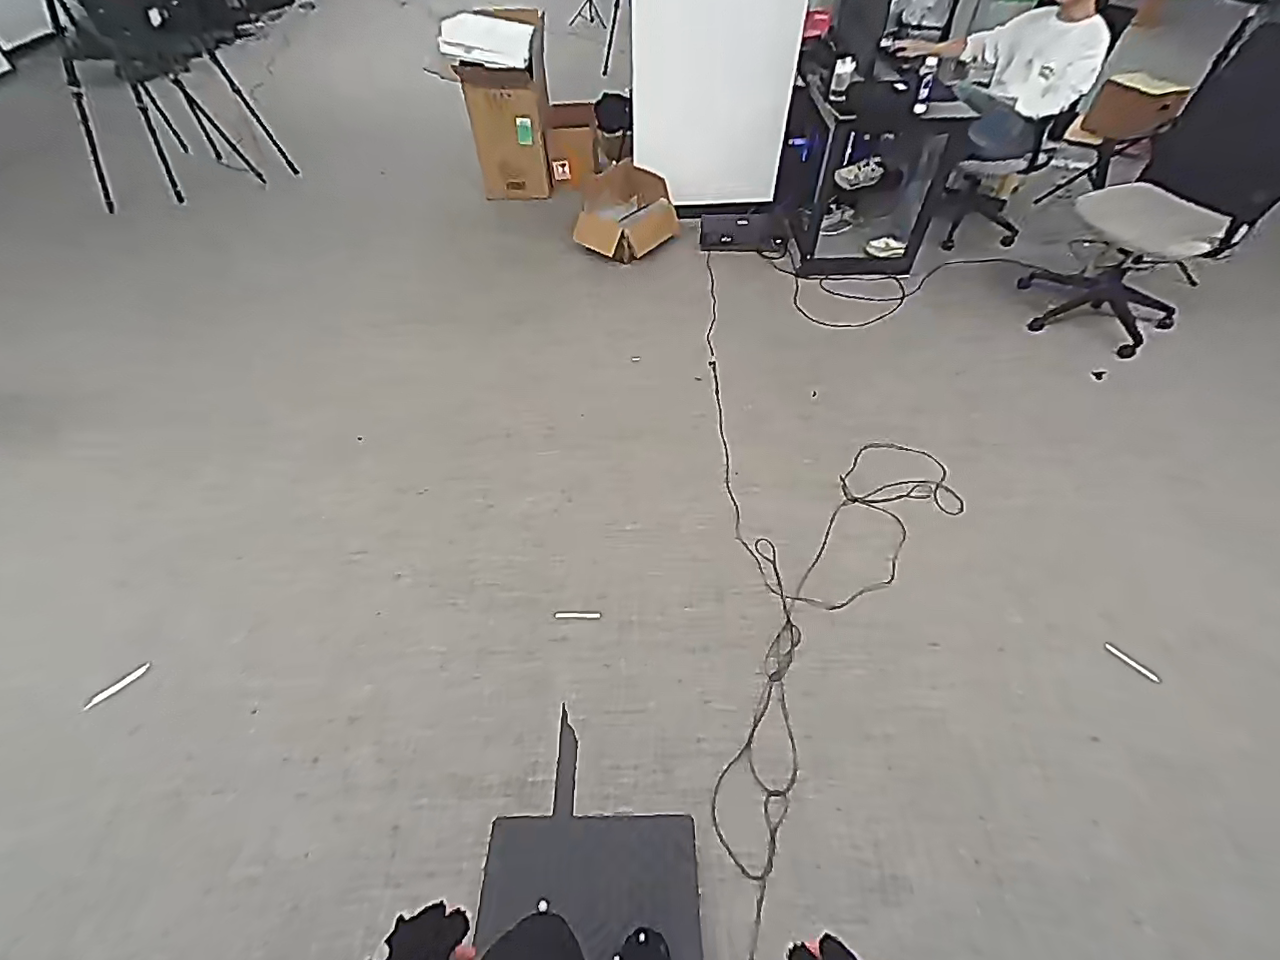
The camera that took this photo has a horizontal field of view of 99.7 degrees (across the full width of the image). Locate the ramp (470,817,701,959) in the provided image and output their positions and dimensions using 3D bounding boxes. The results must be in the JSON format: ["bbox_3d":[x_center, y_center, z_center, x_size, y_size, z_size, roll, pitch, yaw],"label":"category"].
[{"bbox_3d":[-0.115,1.160,0.953,0.509,0.206,0.991,-3,51,0],"label":"ramp"}]
